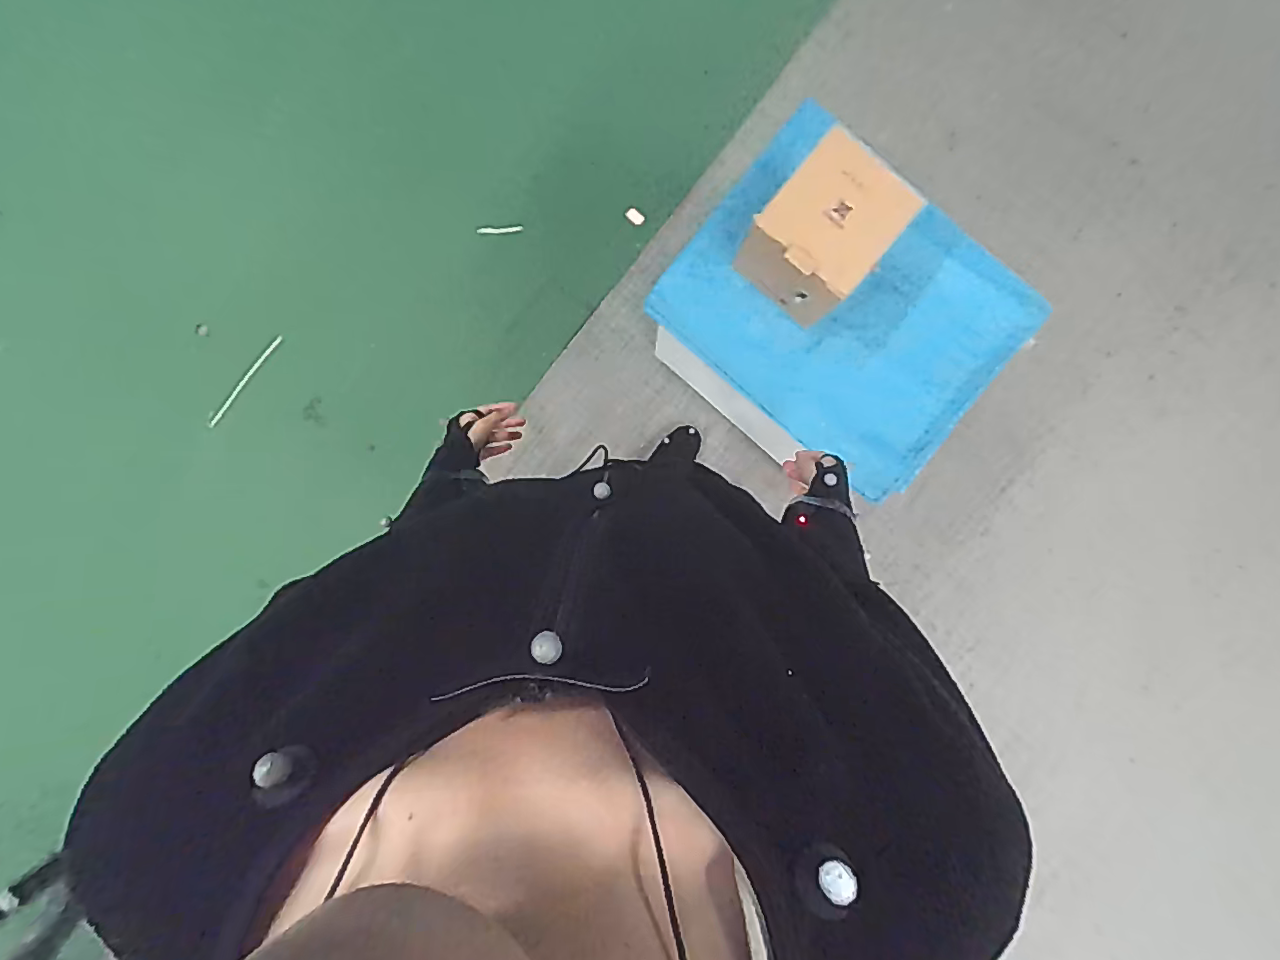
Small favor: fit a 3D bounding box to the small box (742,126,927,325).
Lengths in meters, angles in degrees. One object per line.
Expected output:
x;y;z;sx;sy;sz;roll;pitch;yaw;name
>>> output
0.271;-0.361;0.807;0.168;0.176;0.179;41;90;-2;small box
